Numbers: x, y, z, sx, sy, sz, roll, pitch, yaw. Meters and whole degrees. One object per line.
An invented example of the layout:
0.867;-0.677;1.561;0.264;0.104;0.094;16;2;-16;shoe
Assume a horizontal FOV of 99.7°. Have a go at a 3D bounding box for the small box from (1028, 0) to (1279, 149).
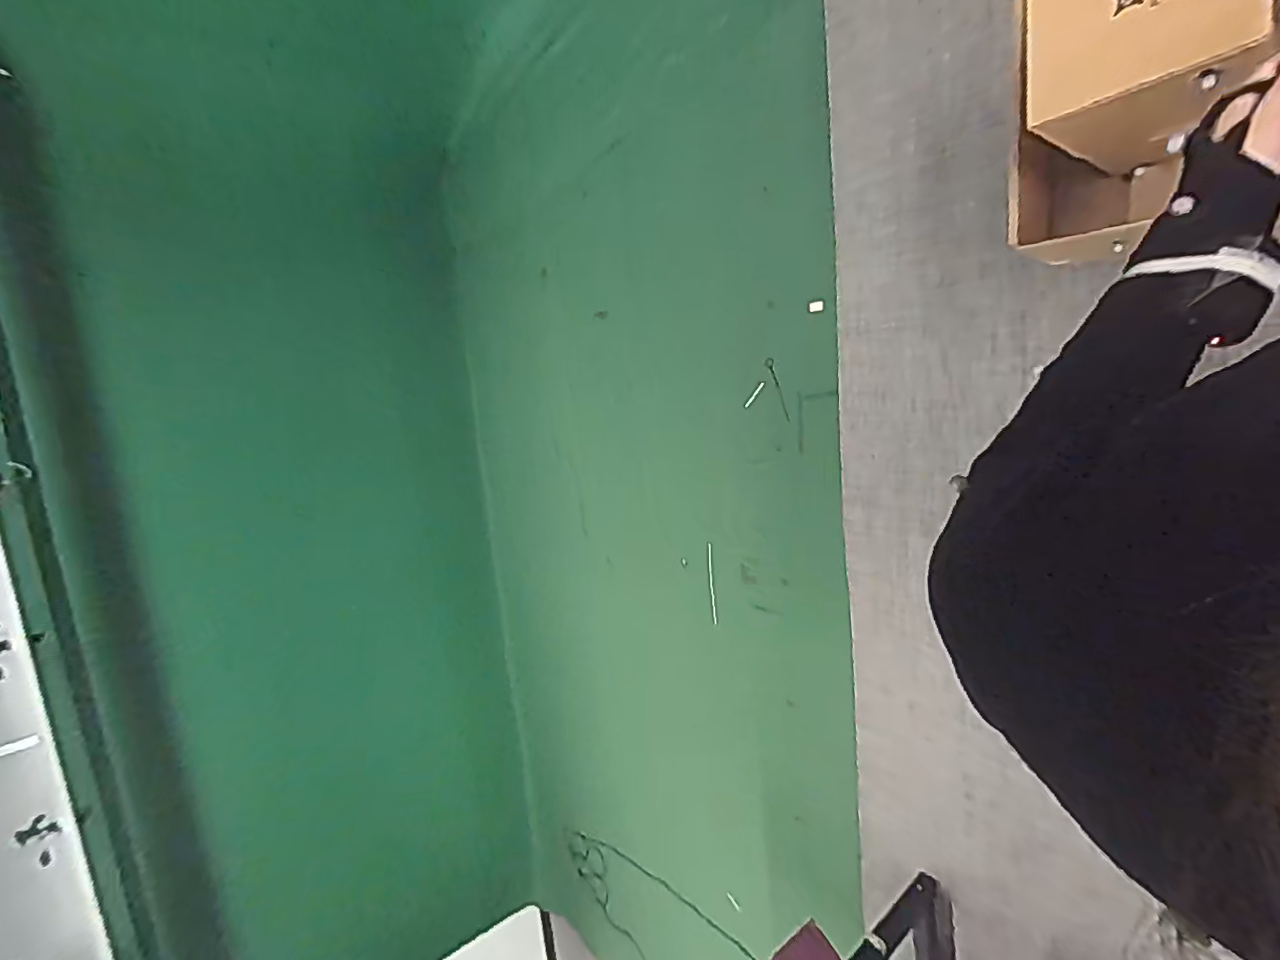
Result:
0.536;-0.474;0.559;0.179;0.176;0.168;6;104;52;small box
